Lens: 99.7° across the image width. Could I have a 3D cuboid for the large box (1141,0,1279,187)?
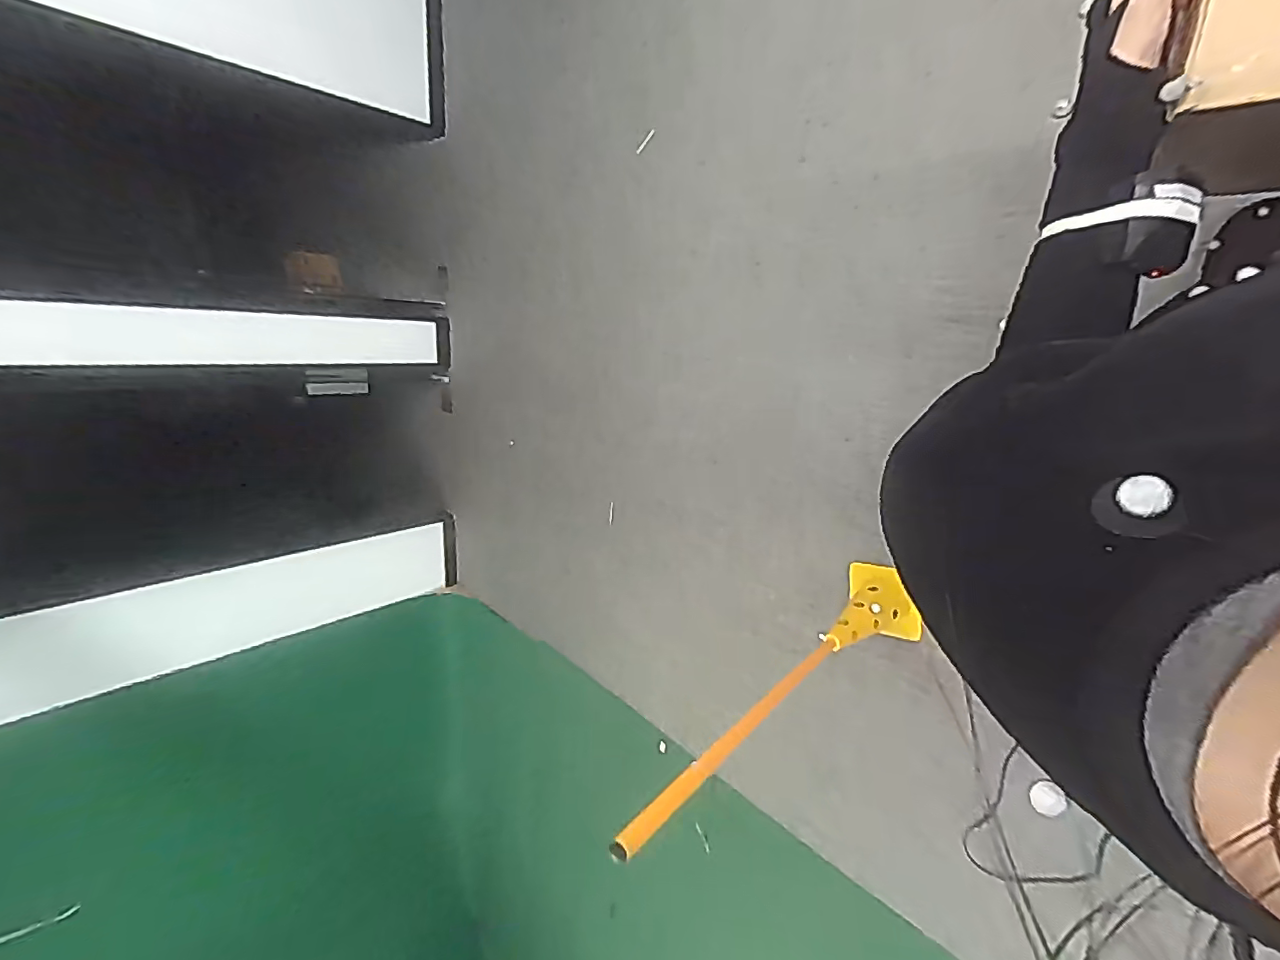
[{"bbox_3d":[0.608,-0.394,0.319,0.408,0.320,0.320,13,110,37],"label":"large box"}]
